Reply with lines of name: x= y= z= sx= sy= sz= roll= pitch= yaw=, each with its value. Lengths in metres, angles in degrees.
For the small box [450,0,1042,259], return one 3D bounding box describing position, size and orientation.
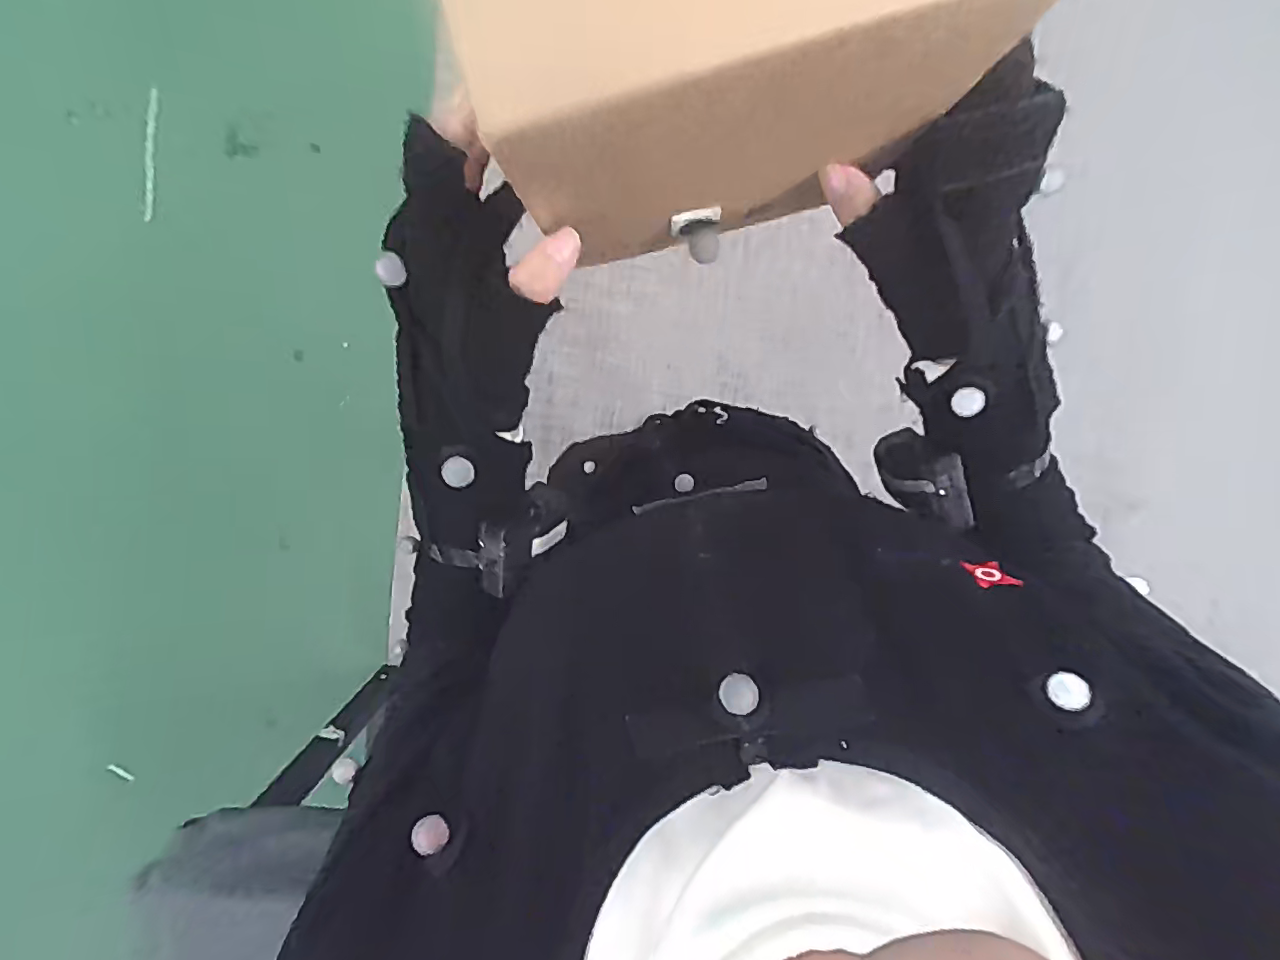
small box: x=0.018 y=-0.209 z=0.207 sx=0.168 sy=0.176 sz=0.179 roll=-15 pitch=100 yaw=5
